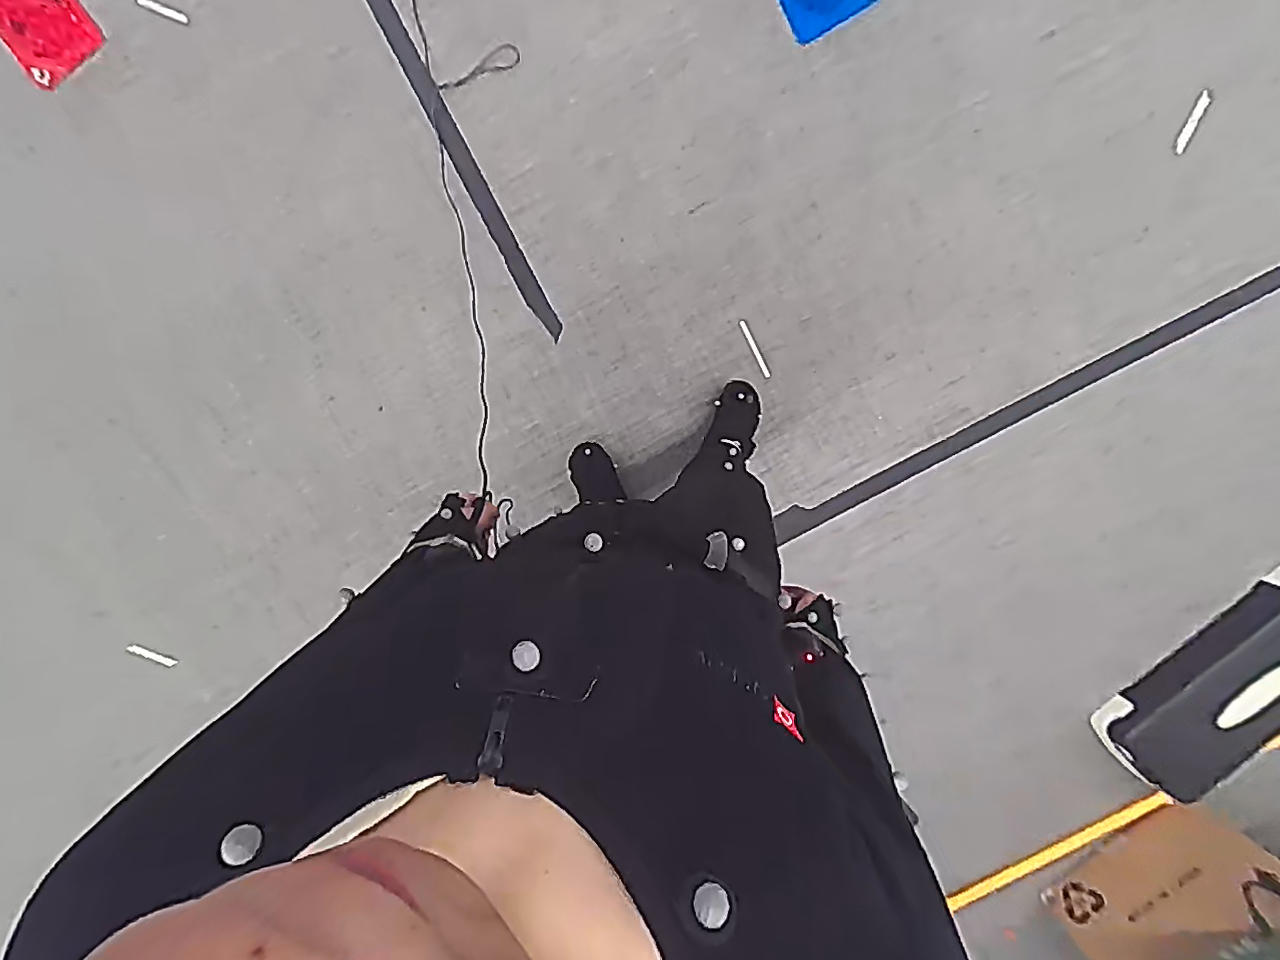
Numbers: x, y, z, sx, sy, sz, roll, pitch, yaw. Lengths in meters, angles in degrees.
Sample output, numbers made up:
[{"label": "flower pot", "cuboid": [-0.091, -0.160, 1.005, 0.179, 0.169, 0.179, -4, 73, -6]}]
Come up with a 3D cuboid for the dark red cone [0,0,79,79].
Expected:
[{"label": "dark red cone", "cuboid": [-1.360, -0.996, 1.027, 0.201, 0.394, 0.202, -36, 97, 5]}]

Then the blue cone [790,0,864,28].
[{"label": "blue cone", "cuboid": [0.398, -1.076, 1.006, 0.192, 0.380, 0.193, -27, 98, 4]}]
